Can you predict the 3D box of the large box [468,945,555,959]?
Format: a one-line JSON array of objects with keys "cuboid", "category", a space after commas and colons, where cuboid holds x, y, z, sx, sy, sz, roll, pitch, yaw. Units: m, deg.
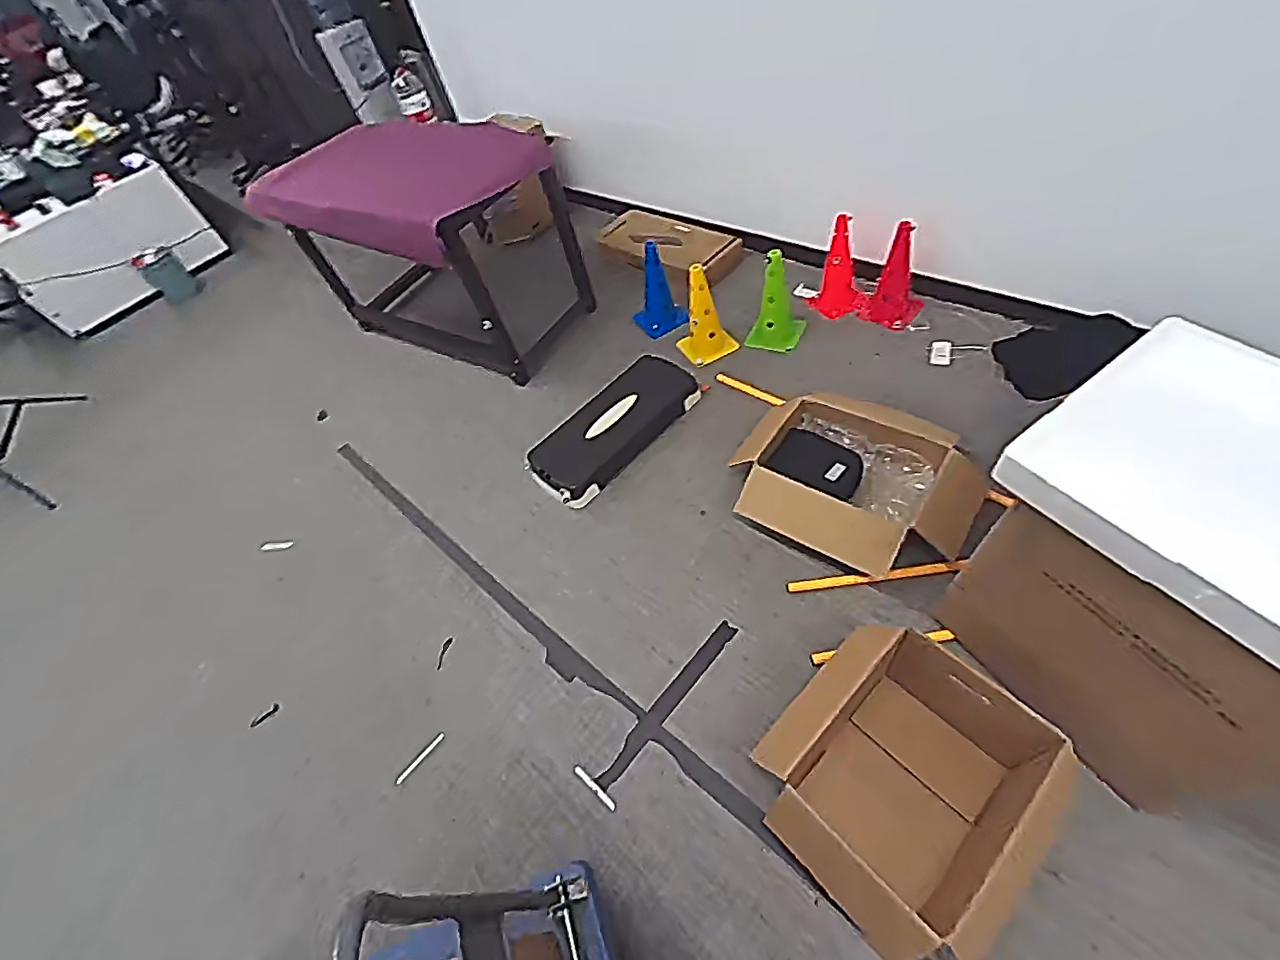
[{"cuboid": [-0.268, 0.979, 0.769, 0.320, 0.320, 0.408, -23, 50, -3], "category": "large box"}]
